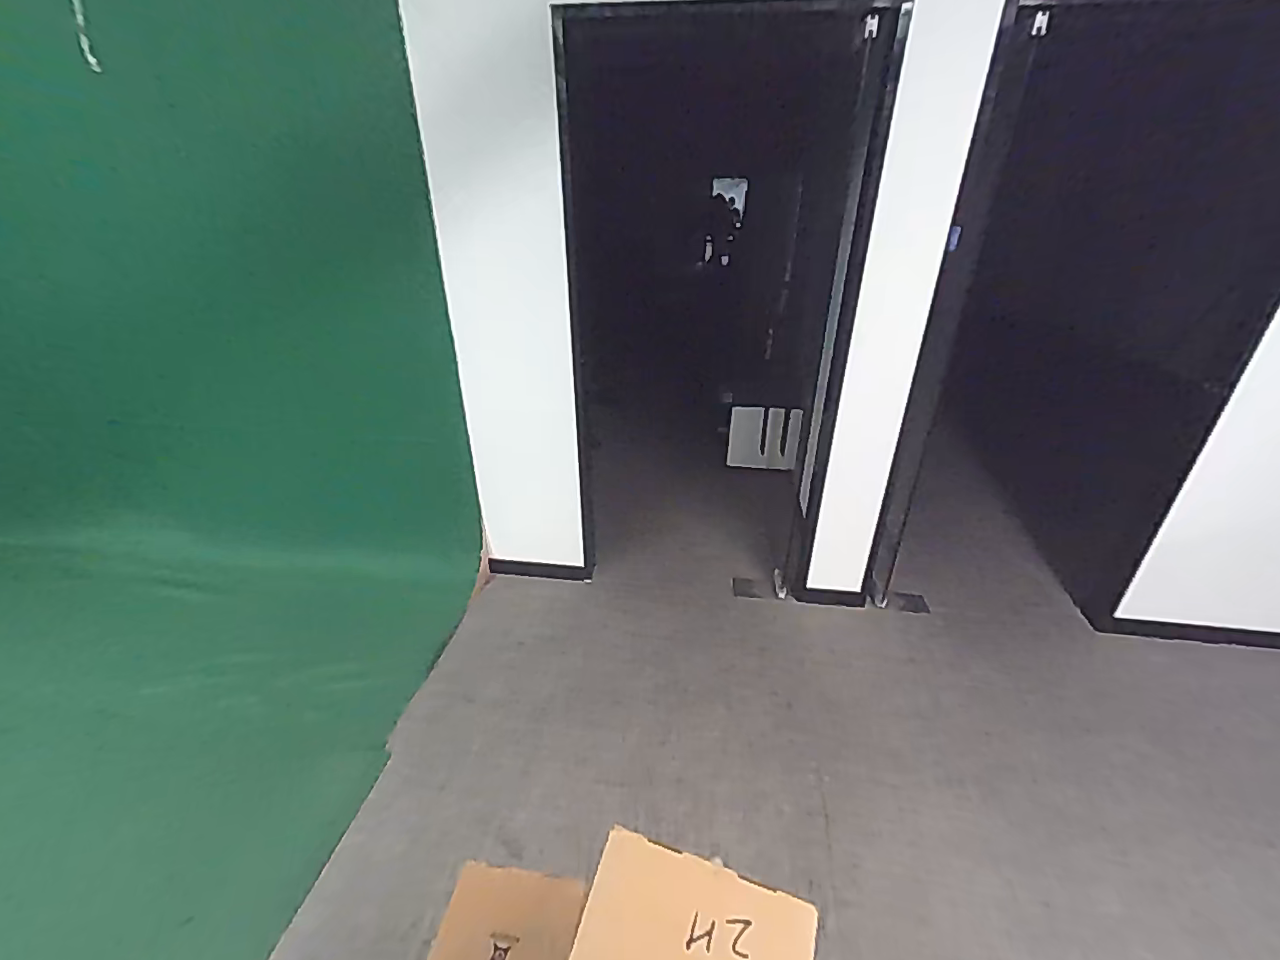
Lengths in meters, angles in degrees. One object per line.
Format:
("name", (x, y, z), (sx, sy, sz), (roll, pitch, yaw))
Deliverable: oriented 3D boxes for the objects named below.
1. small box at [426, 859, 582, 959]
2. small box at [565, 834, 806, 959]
("small box", (-0.168, 0.631, 0.686), (0.168, 0.176, 0.179), (5, 29, 7))
("small box", (0.028, 0.425, 0.437), (0.168, 0.176, 0.179), (12, 53, 17))
